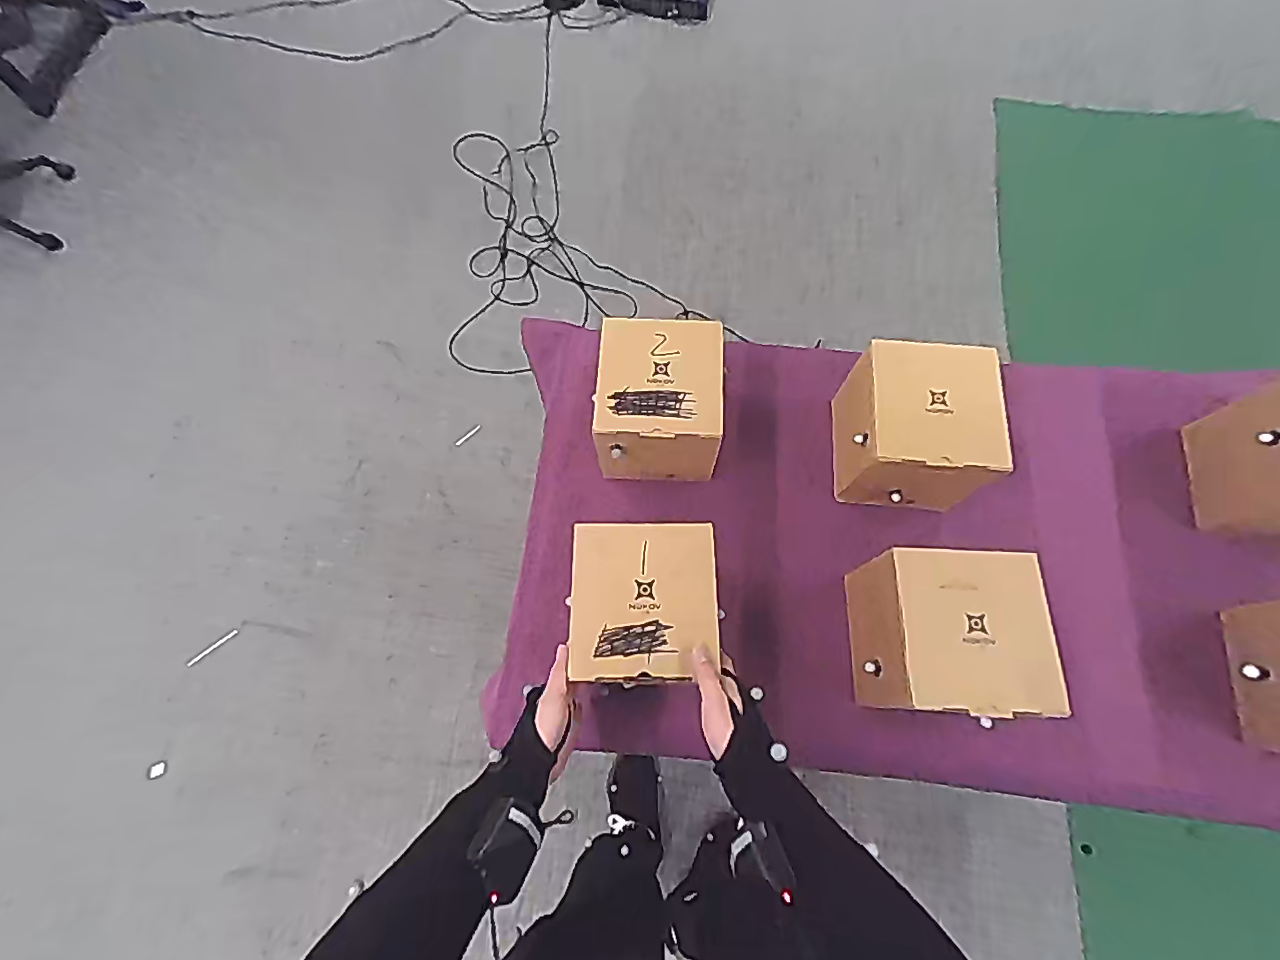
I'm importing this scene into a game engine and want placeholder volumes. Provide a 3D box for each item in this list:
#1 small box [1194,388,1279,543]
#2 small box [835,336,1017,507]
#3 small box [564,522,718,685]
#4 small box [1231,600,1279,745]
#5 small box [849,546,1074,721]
[{"bbox_3d":[0.895,-0.022,0.713,0.168,0.176,0.179,10,71,6],"label":"small box"},{"bbox_3d":[0.379,-0.074,0.752,0.168,0.176,0.179,4,71,3],"label":"small box"},{"bbox_3d":[0.004,0.160,0.670,0.168,0.176,0.179,-1,67,1],"label":"small box"},{"bbox_3d":[0.854,0.236,0.620,0.168,0.176,0.179,10,70,6],"label":"small box"},{"bbox_3d":[0.367,0.188,0.656,0.168,0.176,0.179,3,69,2],"label":"small box"}]
